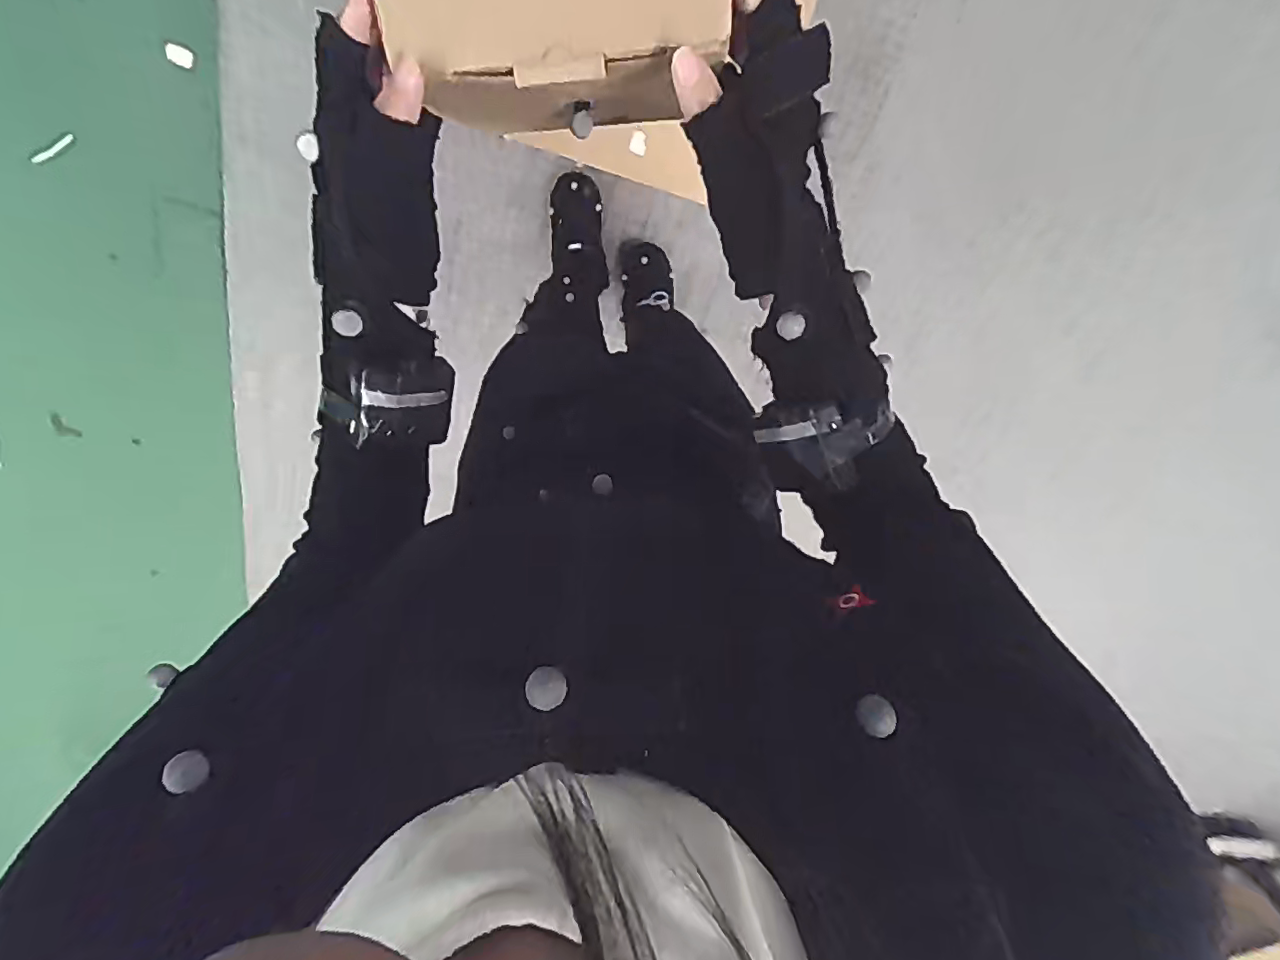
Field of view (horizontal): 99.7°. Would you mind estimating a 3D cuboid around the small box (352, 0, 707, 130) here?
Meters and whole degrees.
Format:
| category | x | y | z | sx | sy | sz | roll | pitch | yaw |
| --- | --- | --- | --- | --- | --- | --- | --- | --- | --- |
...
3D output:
| category | x | y | z | sx | sy | sz | roll | pitch | yaw |
| --- | --- | --- | --- | --- | --- | --- | --- | --- | --- |
| small box | -0.052 | -0.302 | 0.292 | 0.168 | 0.176 | 0.179 | -4 | 117 | 4 |
